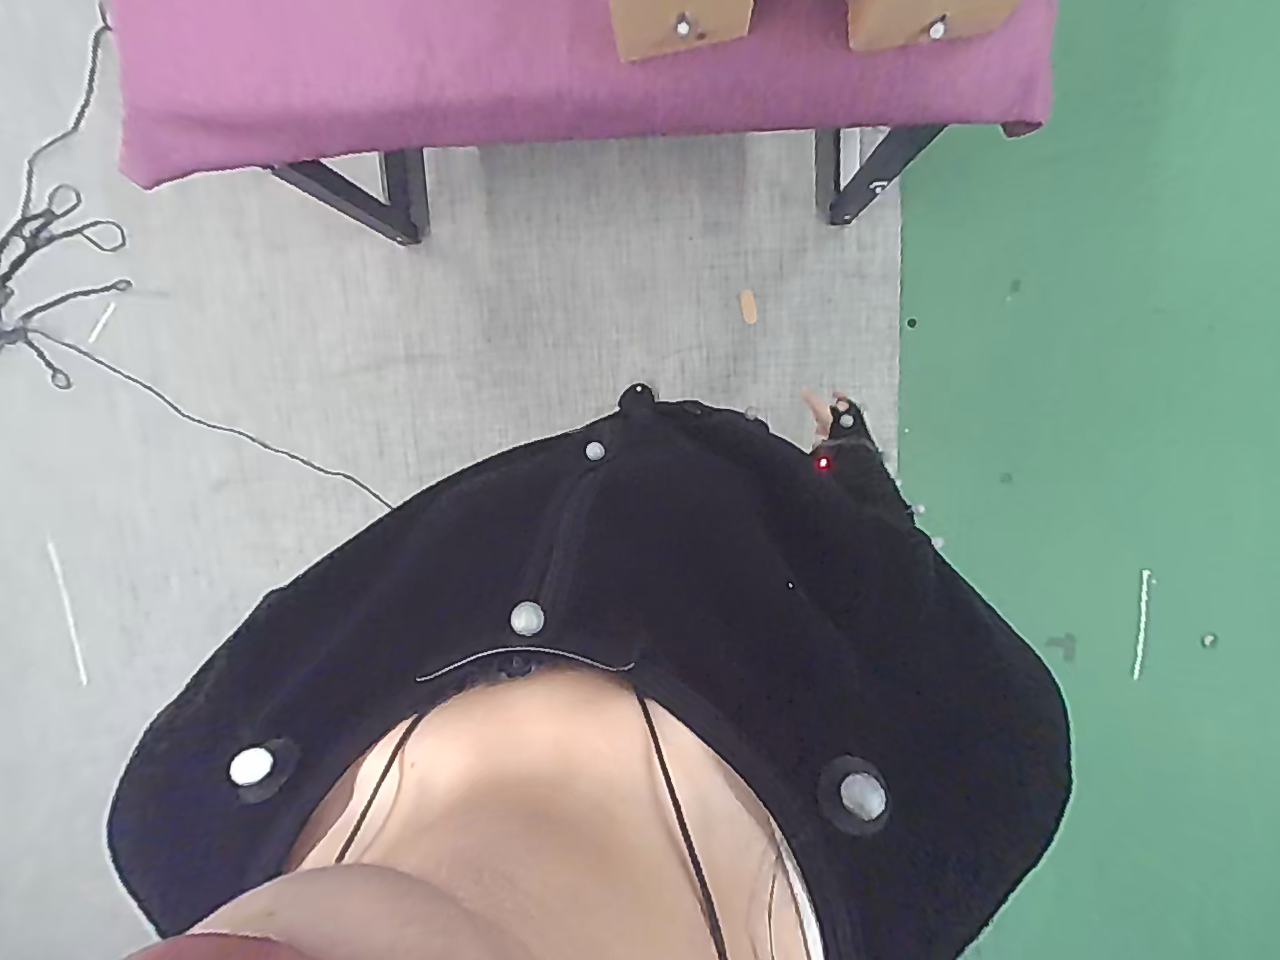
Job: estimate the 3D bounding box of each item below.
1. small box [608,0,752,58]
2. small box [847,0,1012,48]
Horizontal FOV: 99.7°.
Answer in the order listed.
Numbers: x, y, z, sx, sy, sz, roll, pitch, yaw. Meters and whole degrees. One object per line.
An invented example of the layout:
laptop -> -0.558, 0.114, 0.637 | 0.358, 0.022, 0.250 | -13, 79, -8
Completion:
small box -> 0.036, -0.619, 0.591 | 0.168, 0.176, 0.179 | -8, 97, 6
small box -> 0.333, -0.606, 0.572 | 0.179, 0.176, 0.168 | -5, 98, 5
